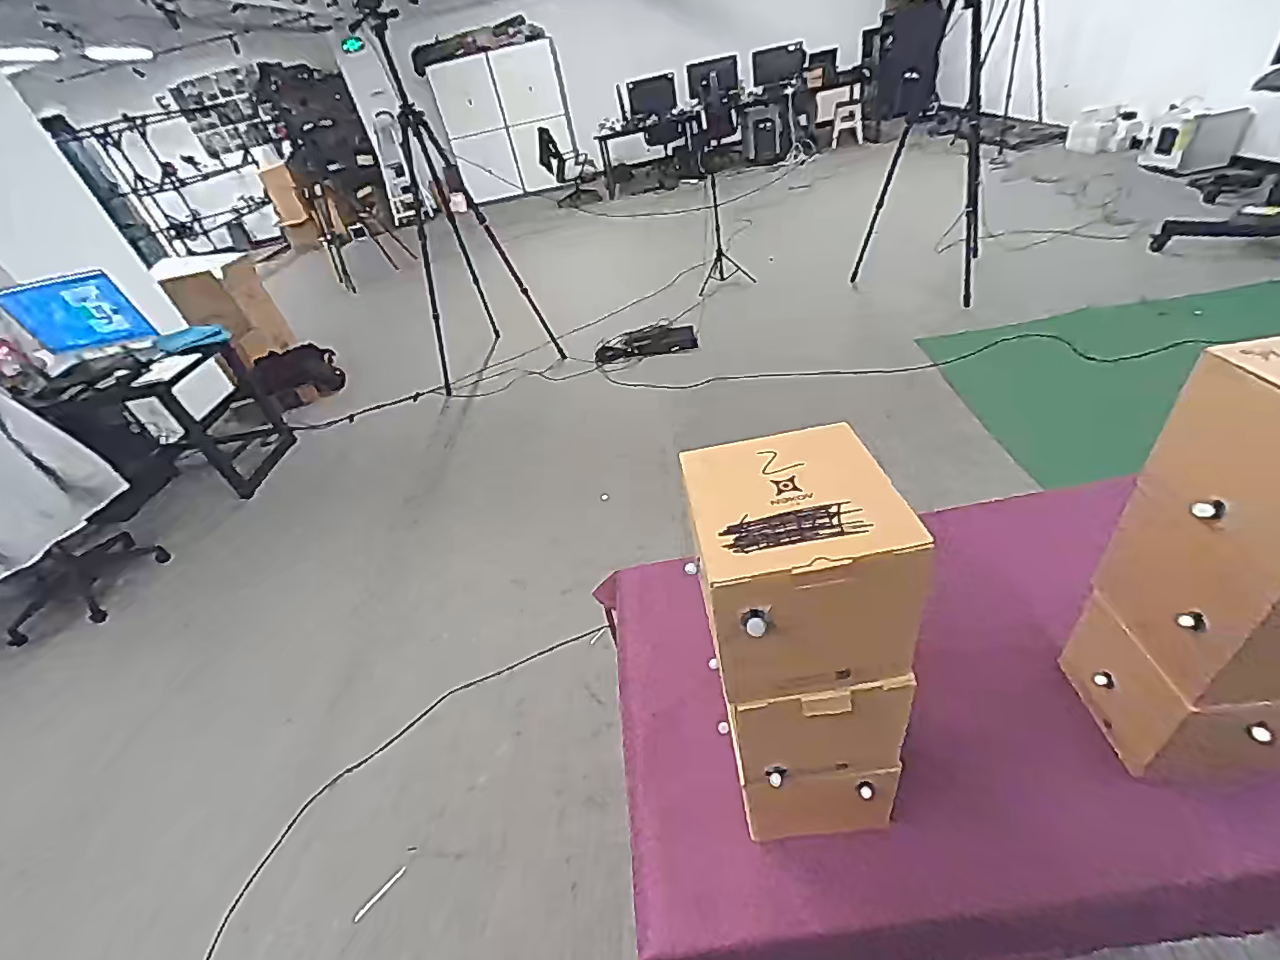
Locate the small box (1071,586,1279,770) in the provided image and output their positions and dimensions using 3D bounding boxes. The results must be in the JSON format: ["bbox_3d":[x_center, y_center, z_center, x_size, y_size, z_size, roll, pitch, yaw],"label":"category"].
[{"bbox_3d":[0.673,0.236,0.663,0.179,0.176,0.168,-8,39,9],"label":"small box"}]

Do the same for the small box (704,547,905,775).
[{"bbox_3d":[0.173,0.205,0.603,0.168,0.176,0.179,-11,36,4],"label":"small box"}]

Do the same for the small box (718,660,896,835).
[{"bbox_3d":[0.207,0.334,0.700,0.179,0.176,0.168,-10,38,5],"label":"small box"}]

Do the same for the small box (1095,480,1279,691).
[{"bbox_3d":[0.640,0.106,0.571,0.168,0.176,0.179,-8,38,8],"label":"small box"}]

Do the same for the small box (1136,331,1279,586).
[{"bbox_3d":[0.604,-0.020,0.471,0.168,0.176,0.179,-8,39,7],"label":"small box"}]
